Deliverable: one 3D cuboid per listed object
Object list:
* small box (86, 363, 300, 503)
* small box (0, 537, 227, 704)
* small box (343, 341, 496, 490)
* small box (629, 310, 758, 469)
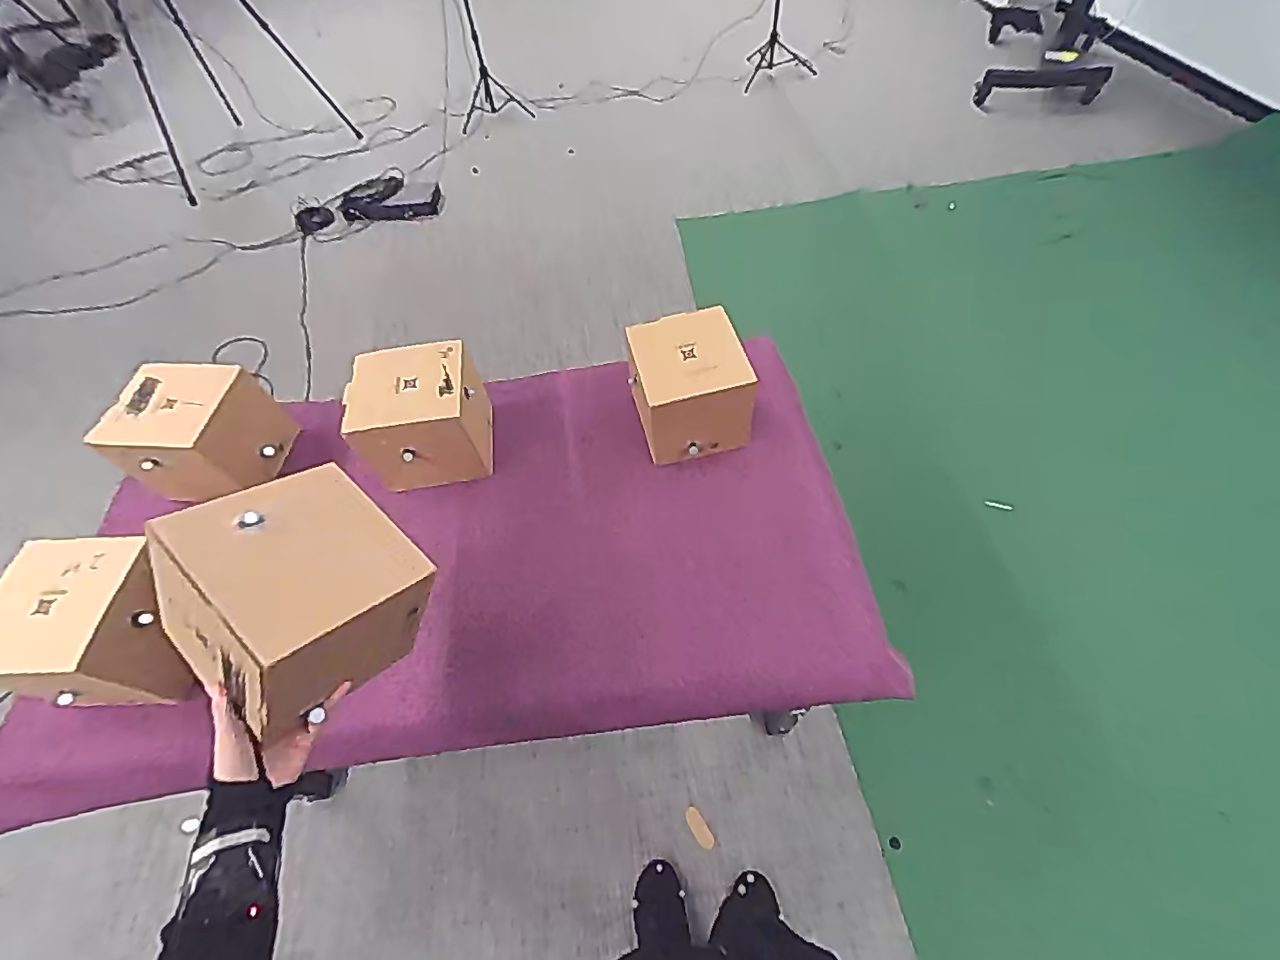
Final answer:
[{"bbox_3d":[-0.719,-0.074,0.895,0.179,0.176,0.168,3,58,4],"label":"small box"},{"bbox_3d":[-0.705,0.192,0.716,0.168,0.176,0.179,-1,56,2],"label":"small box"},{"bbox_3d":[-0.350,-0.099,0.890,0.179,0.176,0.168,-9,58,-1],"label":"small box"},{"bbox_3d":[0.082,-0.146,0.892,0.168,0.176,0.179,-13,58,-3],"label":"small box"}]
